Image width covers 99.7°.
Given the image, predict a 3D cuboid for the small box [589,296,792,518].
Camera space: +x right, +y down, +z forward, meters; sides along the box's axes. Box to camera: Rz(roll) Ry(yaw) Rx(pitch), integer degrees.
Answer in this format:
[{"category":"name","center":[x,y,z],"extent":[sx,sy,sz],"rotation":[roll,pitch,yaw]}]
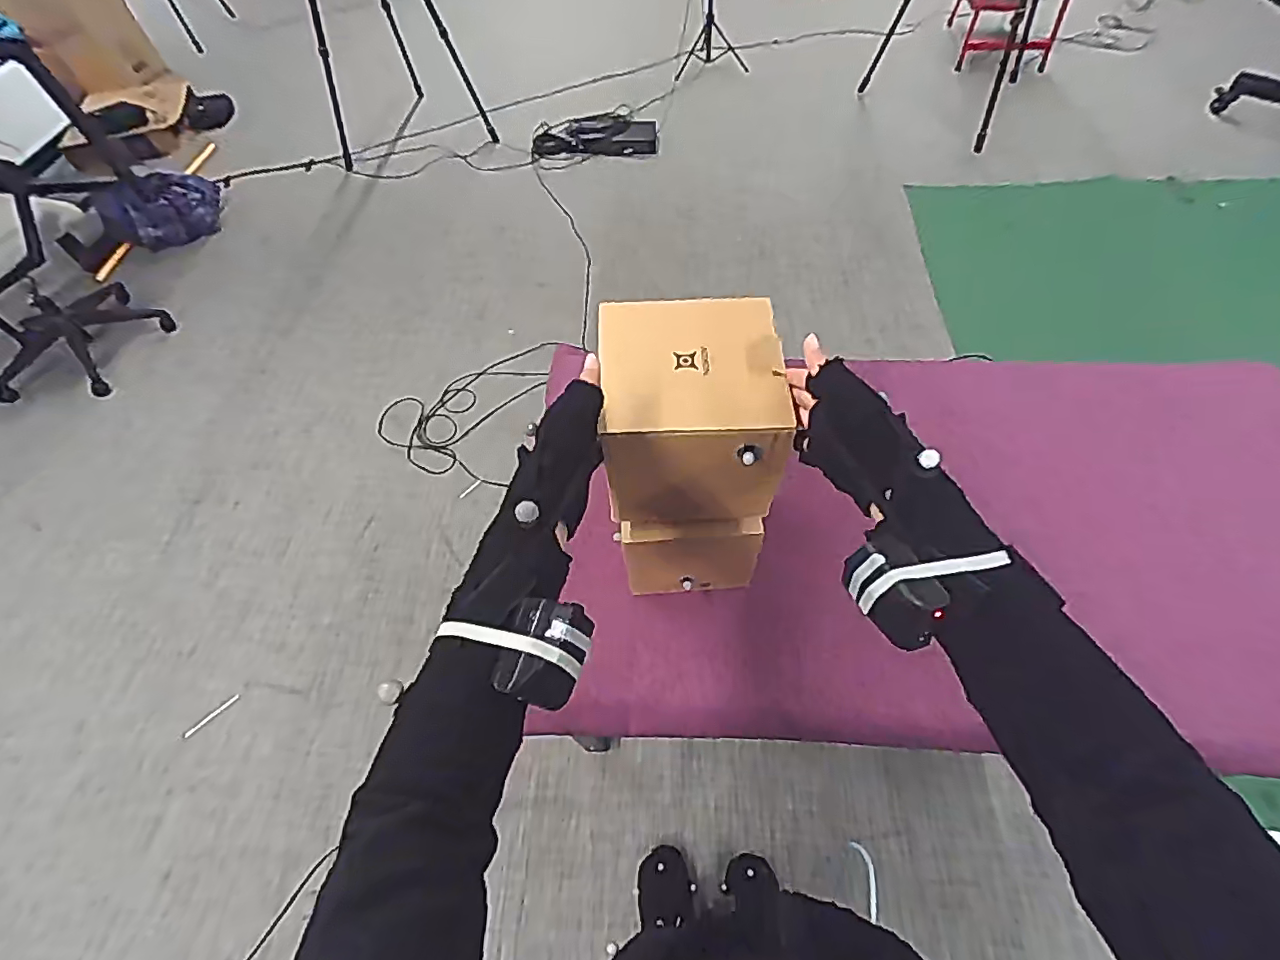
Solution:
[{"category":"small box","center":[0.045,-0.069,0.568],"extent":[0.179,0.176,0.168],"rotation":[-2,59,0]}]
